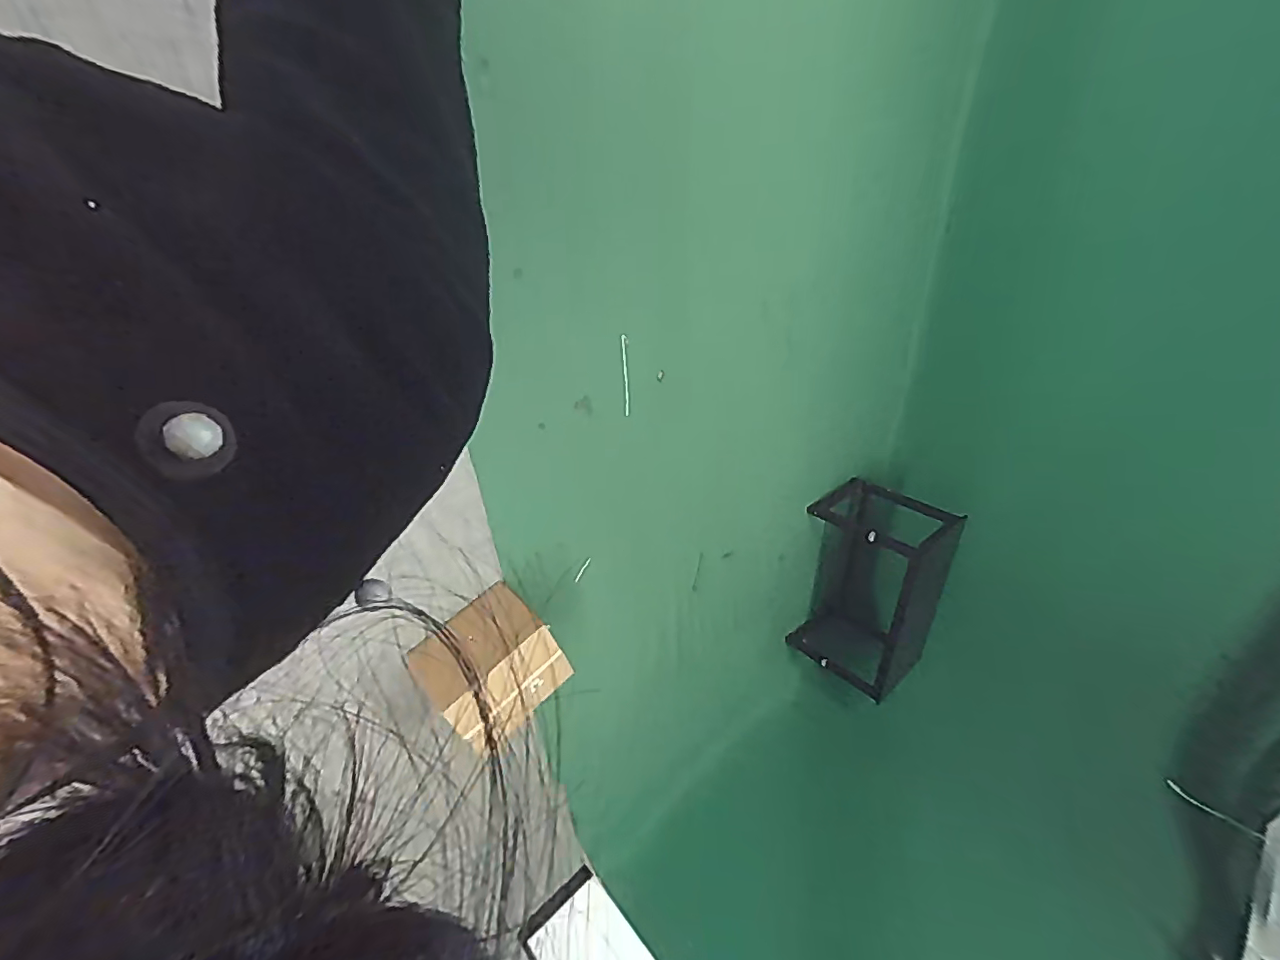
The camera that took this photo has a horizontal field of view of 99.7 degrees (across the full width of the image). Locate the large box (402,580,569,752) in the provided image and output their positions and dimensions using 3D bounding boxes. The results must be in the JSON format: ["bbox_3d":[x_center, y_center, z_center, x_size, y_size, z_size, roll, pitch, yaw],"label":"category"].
[{"bbox_3d":[-0.531,0.637,1.891,0.408,0.320,0.320,-40,135,-25],"label":"large box"}]
